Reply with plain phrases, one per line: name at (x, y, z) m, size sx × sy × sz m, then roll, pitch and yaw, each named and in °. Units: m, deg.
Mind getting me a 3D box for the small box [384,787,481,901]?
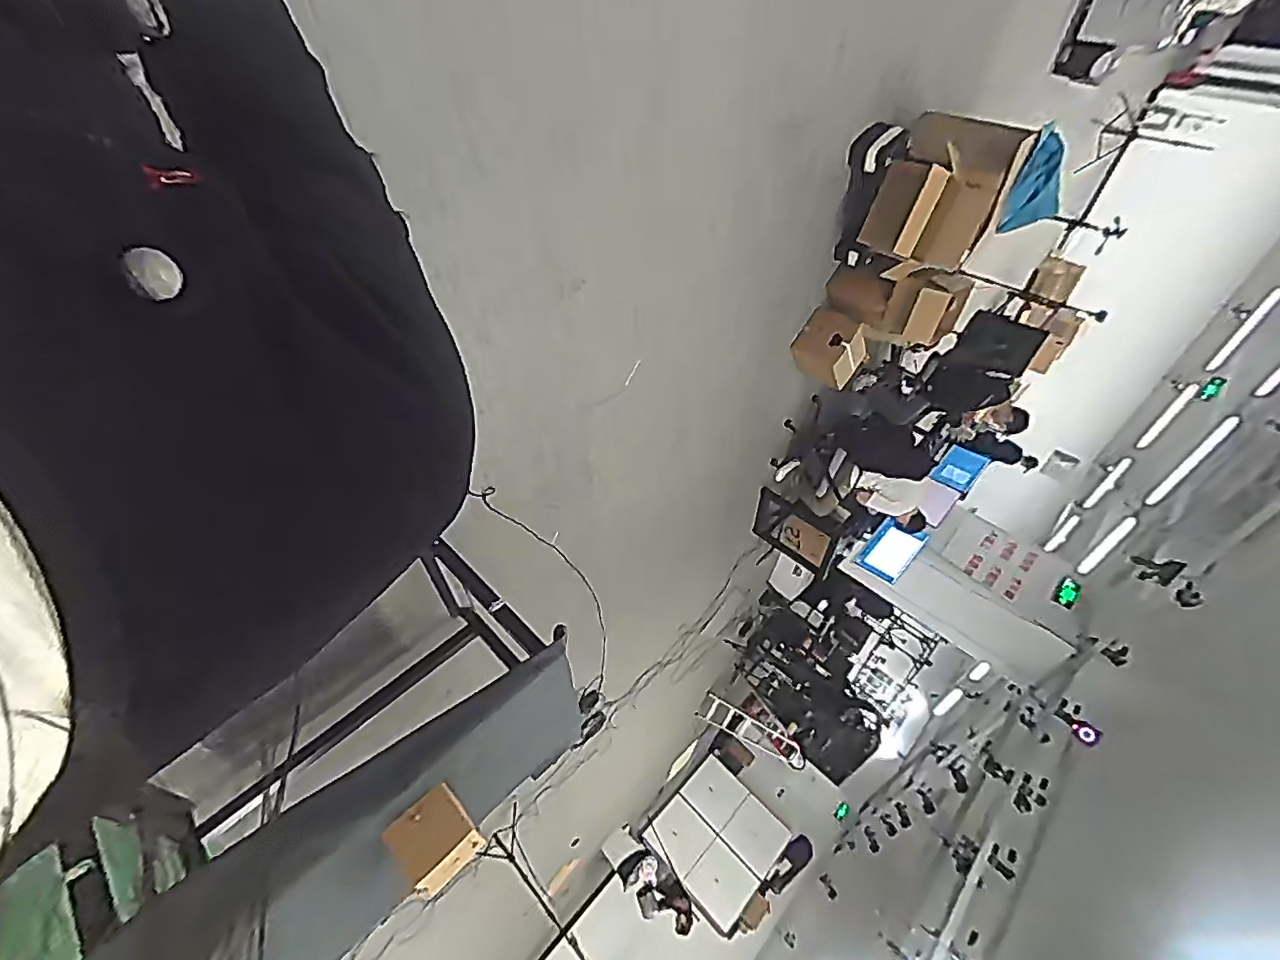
small box at (-0.562, 0.978, 1.458) m, size 0.179 × 0.176 × 0.168 m, roll -35°, pitch 146°, yaw -29°
